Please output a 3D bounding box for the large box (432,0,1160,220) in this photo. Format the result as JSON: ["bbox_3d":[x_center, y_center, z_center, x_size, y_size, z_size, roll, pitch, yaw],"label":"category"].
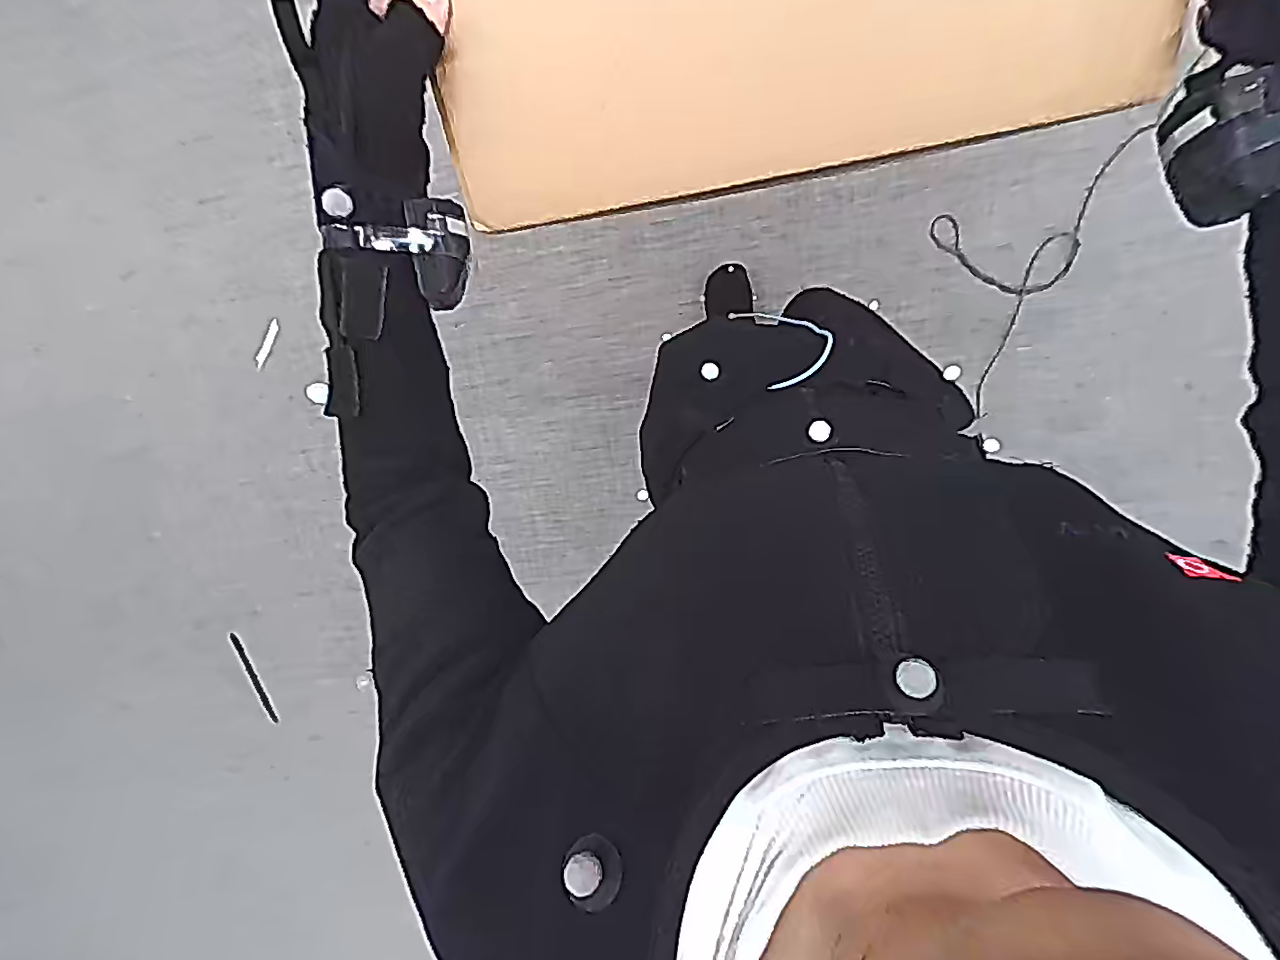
[{"bbox_3d":[0.076,-0.404,0.406,0.408,0.320,0.320,-7,117,9],"label":"large box"}]
